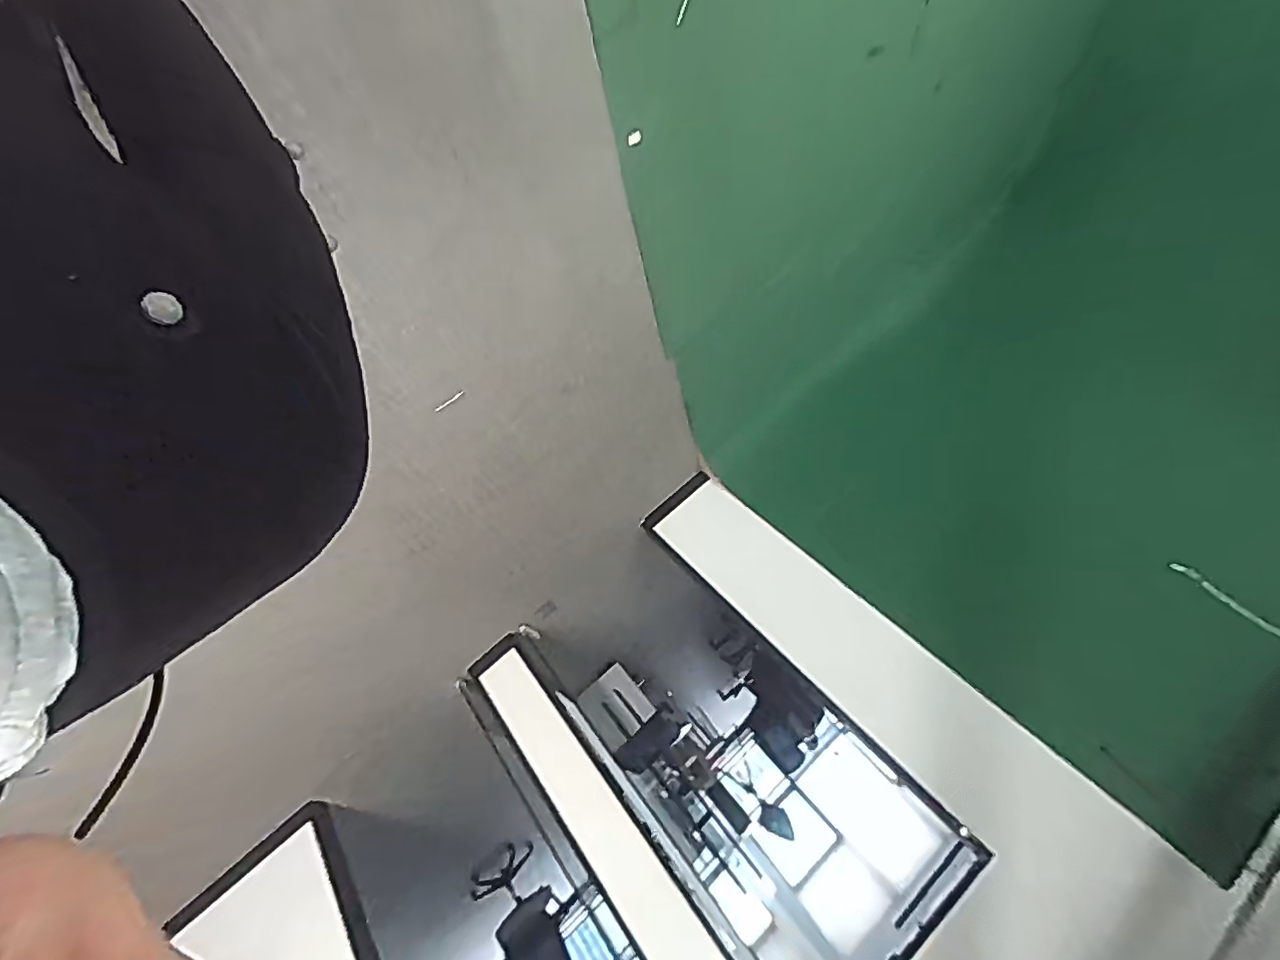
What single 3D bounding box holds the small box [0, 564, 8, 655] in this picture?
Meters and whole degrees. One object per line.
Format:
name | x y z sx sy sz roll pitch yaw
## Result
small box | -0.966 0.183 0.676 0.179 0.176 0.168 -40 147 -15
